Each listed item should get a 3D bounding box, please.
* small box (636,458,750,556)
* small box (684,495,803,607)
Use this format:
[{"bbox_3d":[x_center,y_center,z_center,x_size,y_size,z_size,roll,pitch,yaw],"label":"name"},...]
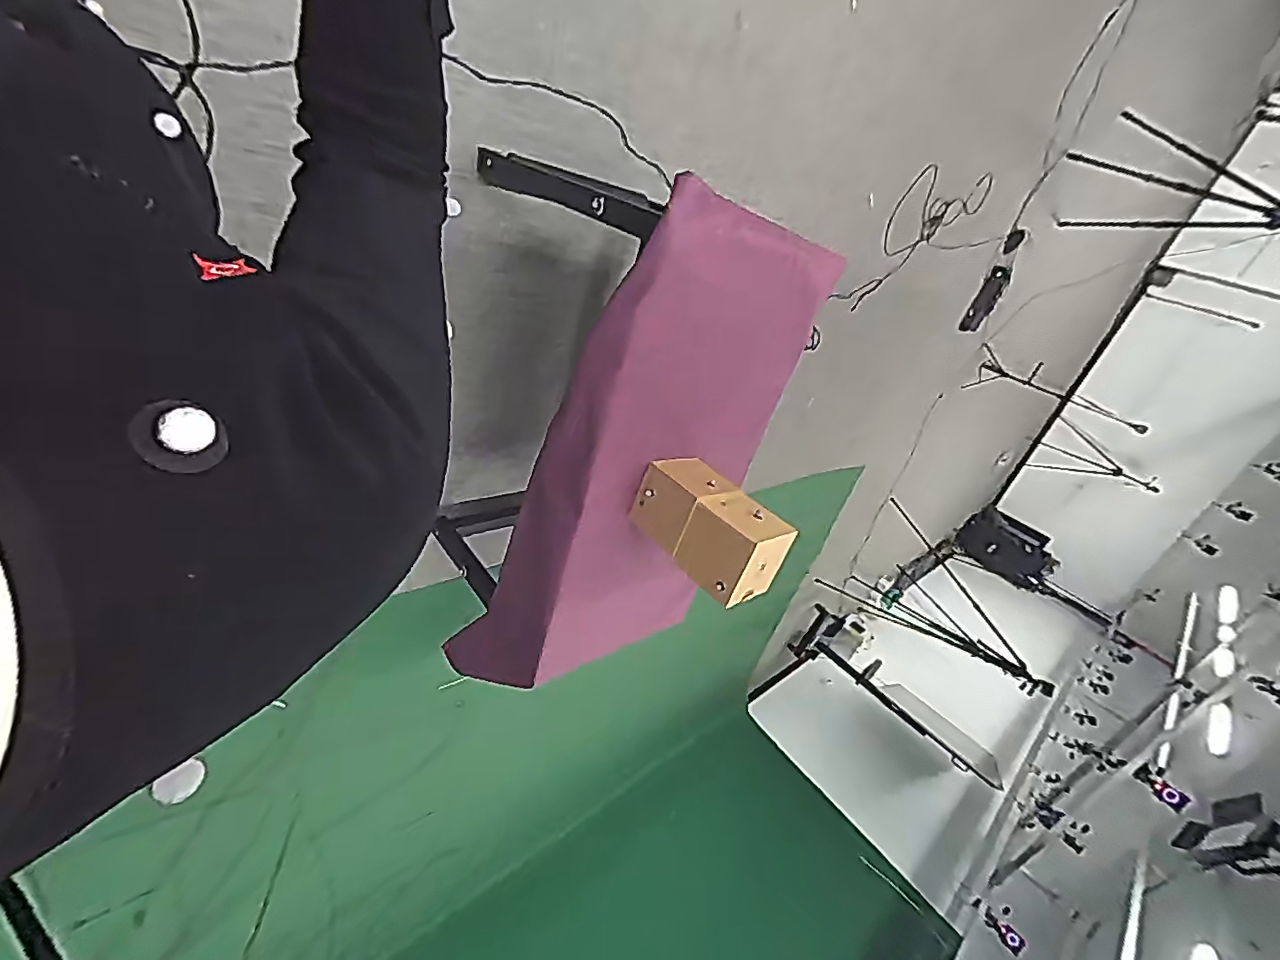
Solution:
[{"bbox_3d":[0.123,0.057,1.296,0.179,0.176,0.168,-5,124,-44],"label":"small box"},{"bbox_3d":[0.225,0.146,1.207,0.168,0.176,0.179,-8,127,-44],"label":"small box"}]
